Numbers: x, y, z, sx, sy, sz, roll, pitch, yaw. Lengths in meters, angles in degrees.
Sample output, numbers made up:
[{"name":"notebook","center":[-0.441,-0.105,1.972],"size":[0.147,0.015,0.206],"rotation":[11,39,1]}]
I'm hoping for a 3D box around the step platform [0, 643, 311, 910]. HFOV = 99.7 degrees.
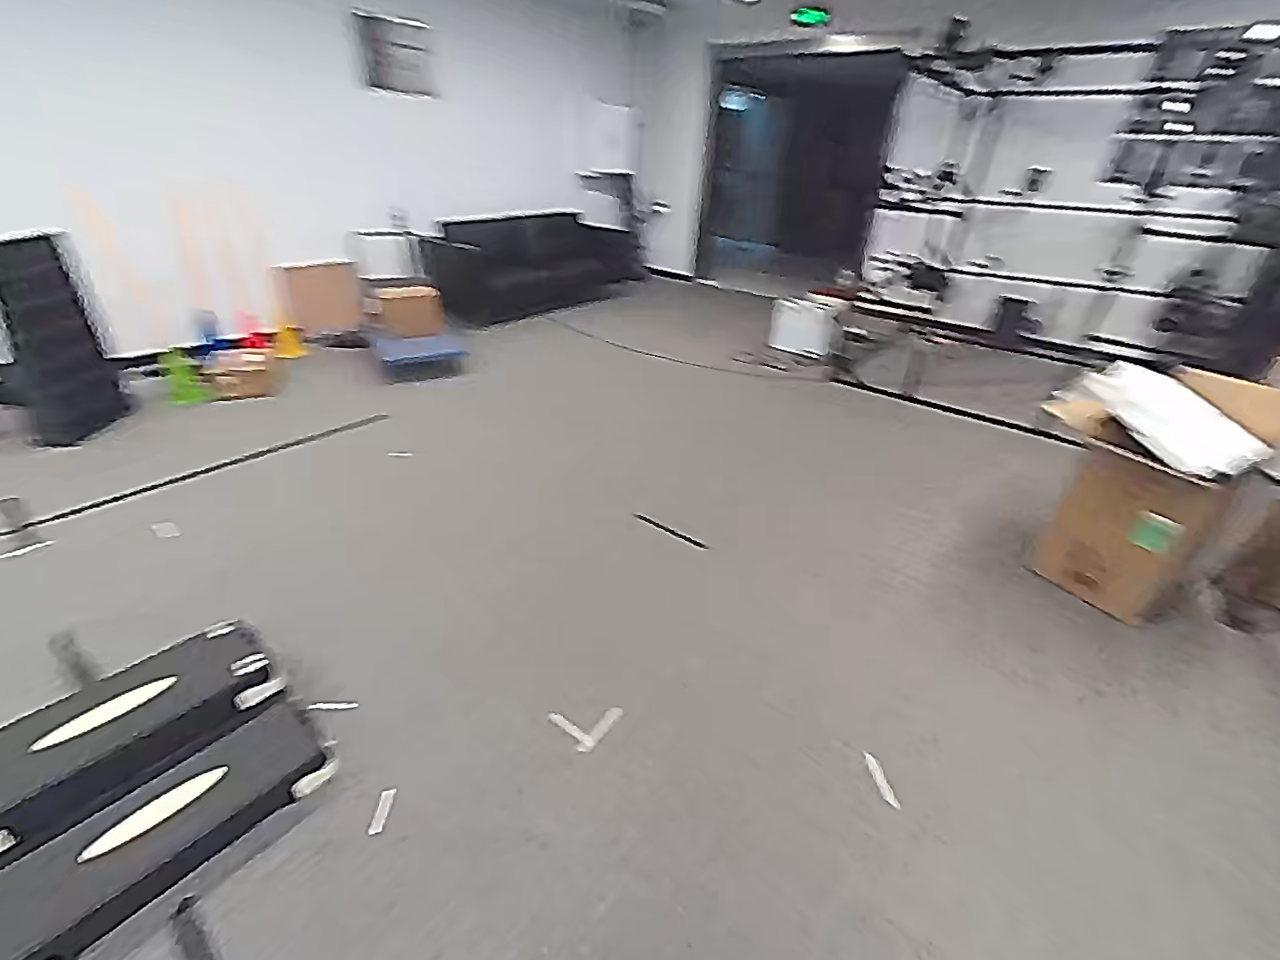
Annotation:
[{"name":"step platform","center":[-1.282,0.716,1.414],"size":[0.286,0.204,0.684],"rotation":[27,36,37]}]
